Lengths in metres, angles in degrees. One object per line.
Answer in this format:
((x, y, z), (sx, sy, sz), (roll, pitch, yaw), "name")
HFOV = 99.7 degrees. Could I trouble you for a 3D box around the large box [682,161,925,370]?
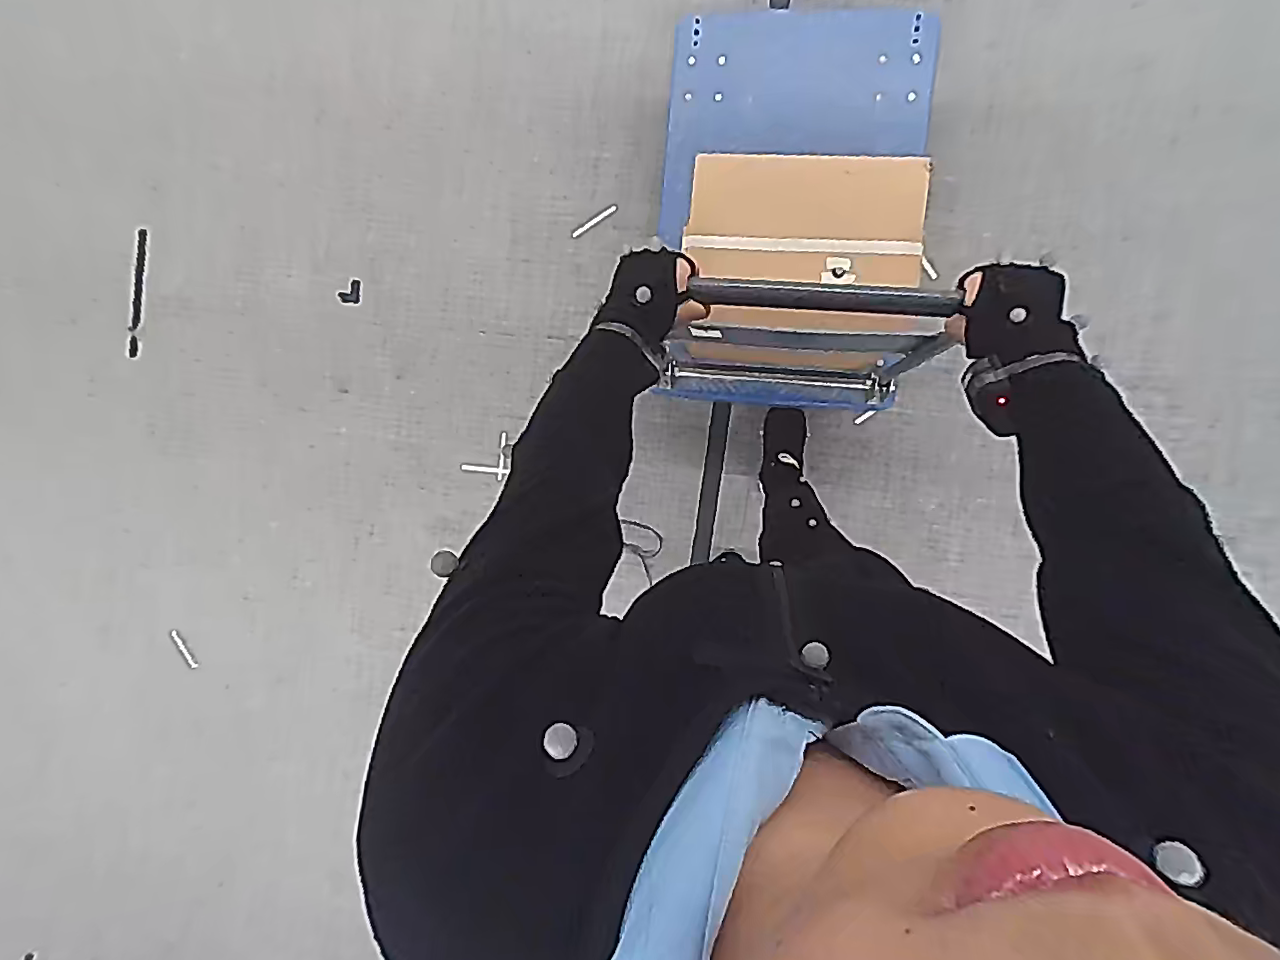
((0.299, -0.412, 1.104), (0.408, 0.320, 0.320), (5, 94, 7), "large box")
